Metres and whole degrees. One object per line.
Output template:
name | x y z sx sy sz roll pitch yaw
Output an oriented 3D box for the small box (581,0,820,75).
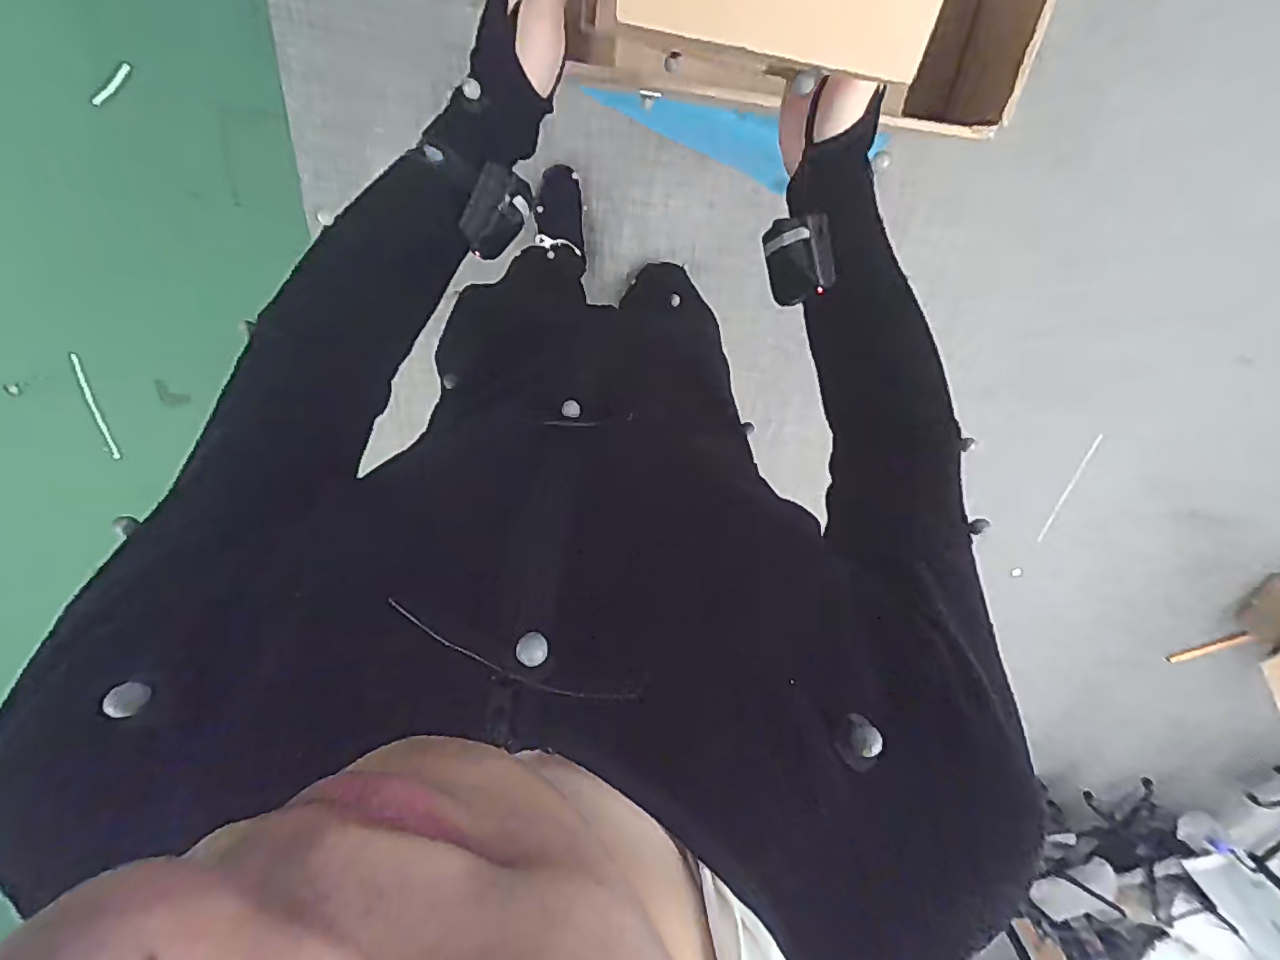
small box | 0.050 -0.449 0.432 0.179 0.176 0.168 5 128 -12
